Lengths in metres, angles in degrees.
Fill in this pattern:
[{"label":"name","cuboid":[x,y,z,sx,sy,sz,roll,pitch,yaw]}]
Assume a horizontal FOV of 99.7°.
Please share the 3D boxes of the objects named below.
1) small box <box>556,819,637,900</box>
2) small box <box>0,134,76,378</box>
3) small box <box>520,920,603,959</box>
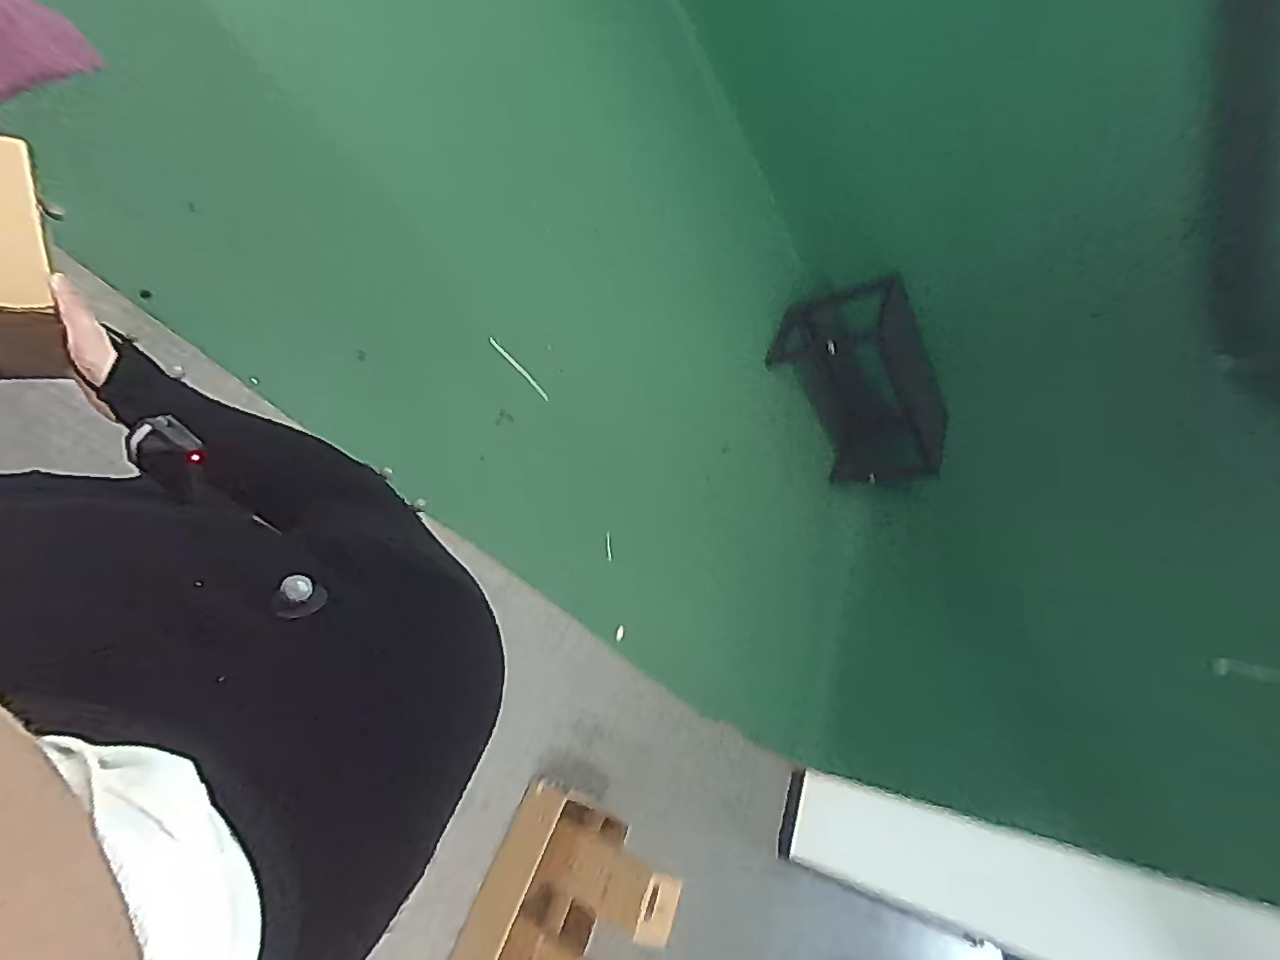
[{"label":"small box","cuboid":[-0.147,1.268,1.812,0.179,0.176,0.168,46,54,-36]},{"label":"small box","cuboid":[-0.665,-0.210,0.507,0.168,0.176,0.179,-10,83,-43]},{"label":"small box","cuboid":[-0.254,1.510,1.672,0.179,0.176,0.168,51,52,-31]}]
